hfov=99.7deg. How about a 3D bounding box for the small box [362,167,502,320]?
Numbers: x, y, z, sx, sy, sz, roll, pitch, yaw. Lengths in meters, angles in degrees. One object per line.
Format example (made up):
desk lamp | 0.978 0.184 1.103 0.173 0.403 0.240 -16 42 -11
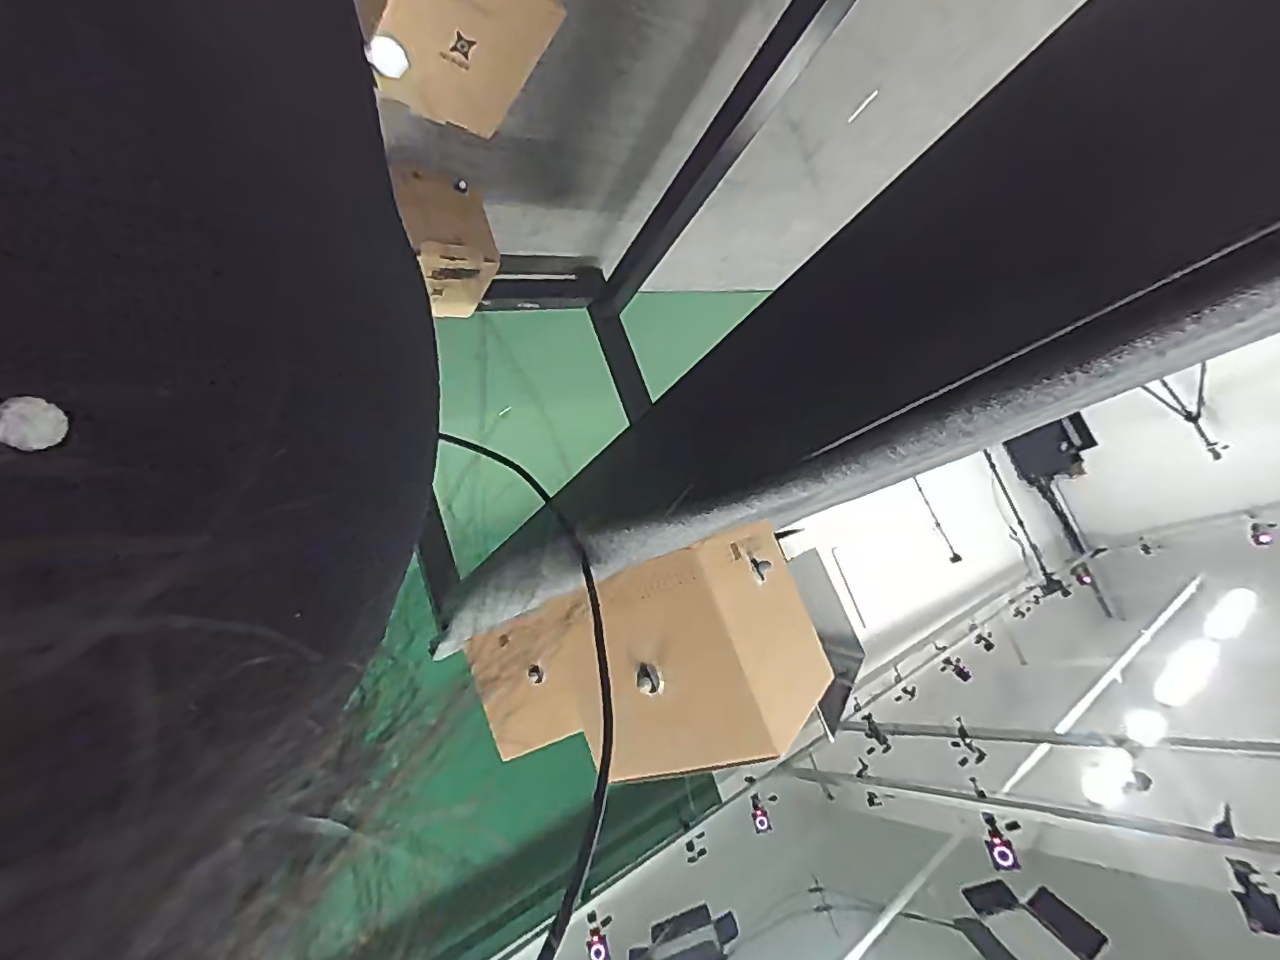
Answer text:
small box | -0.365 -0.399 0.933 0.168 0.176 0.179 -11 167 -38

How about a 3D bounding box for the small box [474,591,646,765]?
small box | -0.112 0.273 0.786 0.168 0.176 0.179 -25 169 9
